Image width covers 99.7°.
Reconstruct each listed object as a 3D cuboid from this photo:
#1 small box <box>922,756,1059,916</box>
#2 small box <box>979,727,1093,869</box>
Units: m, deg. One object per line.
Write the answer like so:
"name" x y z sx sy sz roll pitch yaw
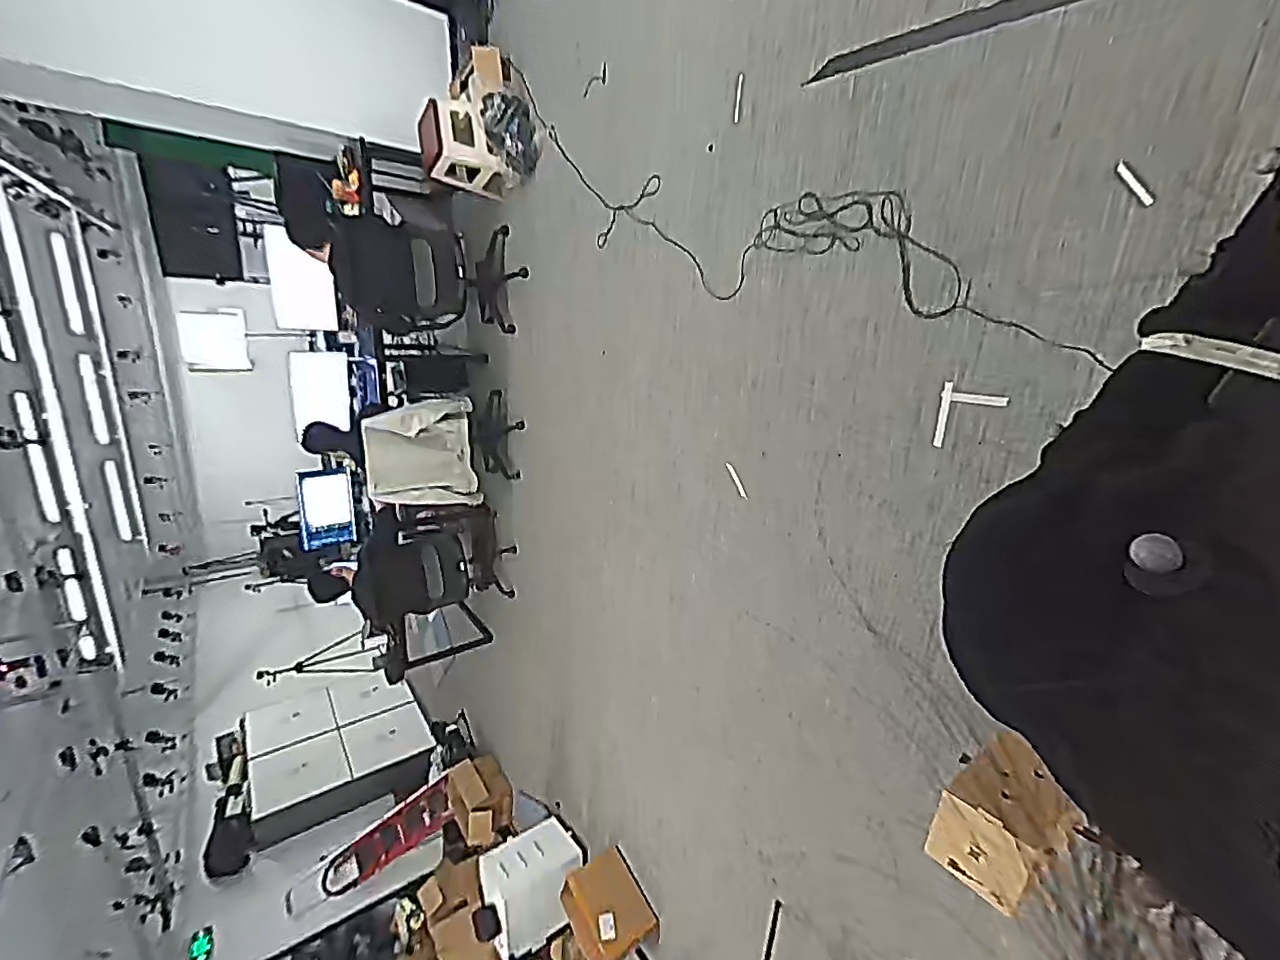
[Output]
"small box" 0.710 0.704 1.092 0.168 0.176 0.179 27 118 47
"small box" 0.845 0.681 1.183 0.179 0.176 0.168 27 118 46
